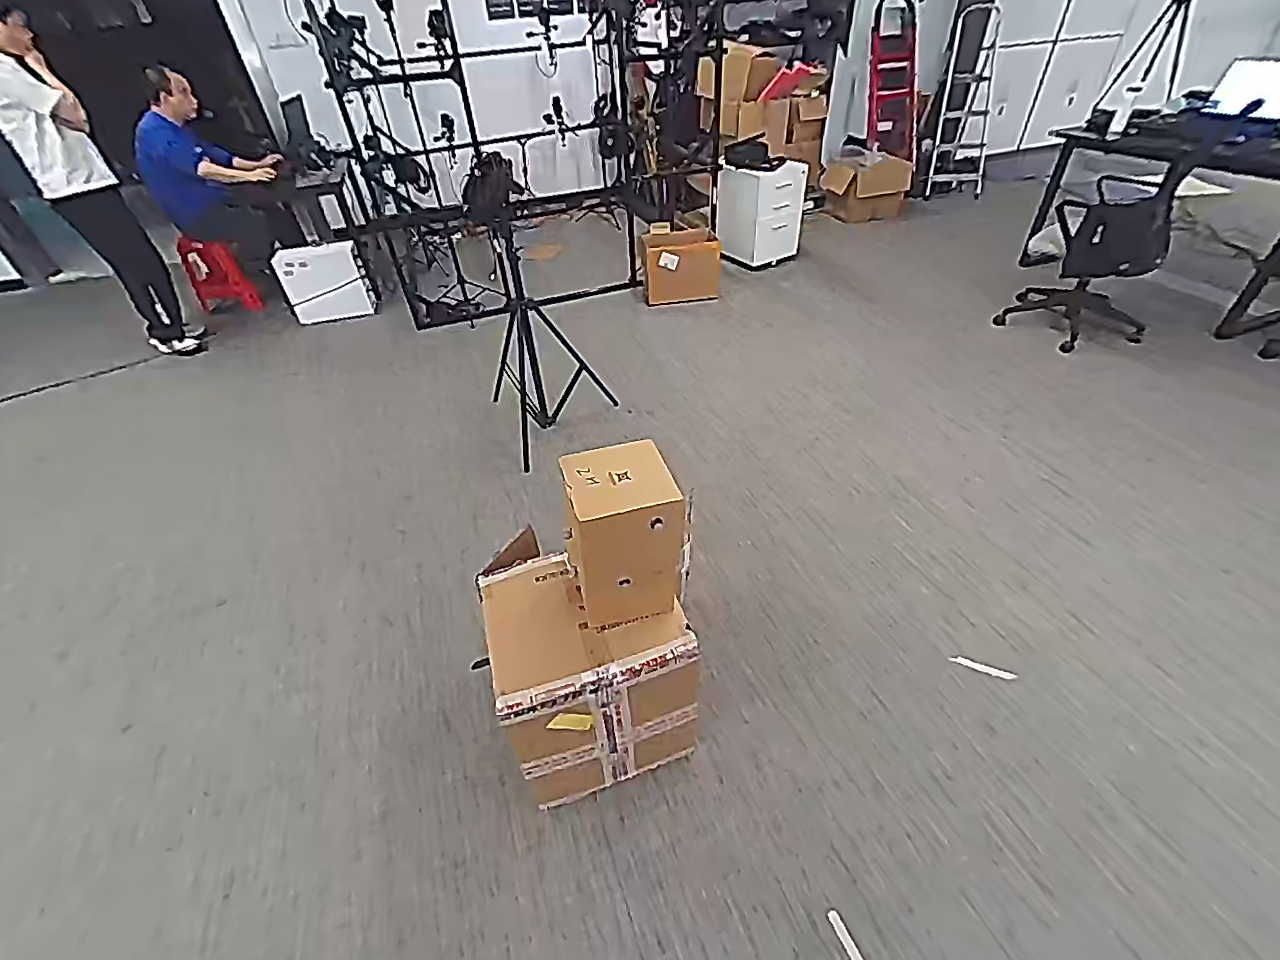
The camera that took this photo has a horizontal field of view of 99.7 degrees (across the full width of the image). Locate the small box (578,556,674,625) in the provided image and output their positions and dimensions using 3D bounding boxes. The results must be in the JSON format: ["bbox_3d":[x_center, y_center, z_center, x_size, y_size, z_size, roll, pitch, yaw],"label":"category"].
[{"bbox_3d":[-0.036,0.165,1.077,0.179,0.176,0.168,-10,43,-10],"label":"small box"}]

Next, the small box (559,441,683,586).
[{"bbox_3d":[-0.037,0.059,0.948,0.179,0.176,0.168,-12,43,-13],"label":"small box"}]
